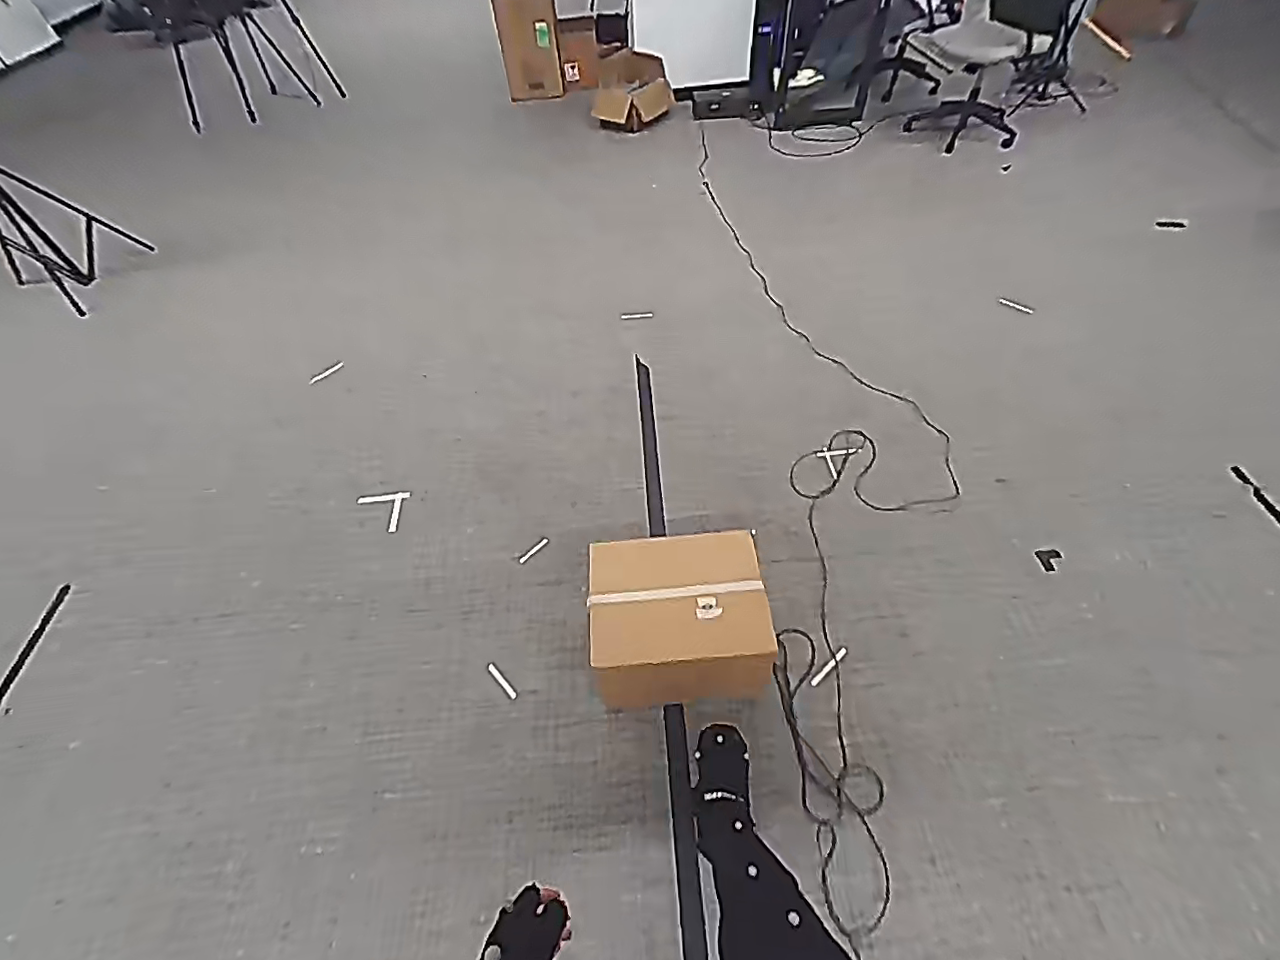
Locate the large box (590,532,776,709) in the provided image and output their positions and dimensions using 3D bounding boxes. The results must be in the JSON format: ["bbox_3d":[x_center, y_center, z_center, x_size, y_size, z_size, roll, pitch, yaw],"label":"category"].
[{"bbox_3d":[0.092,0.360,1.364,0.408,0.320,0.320,-5,51,0],"label":"large box"}]
